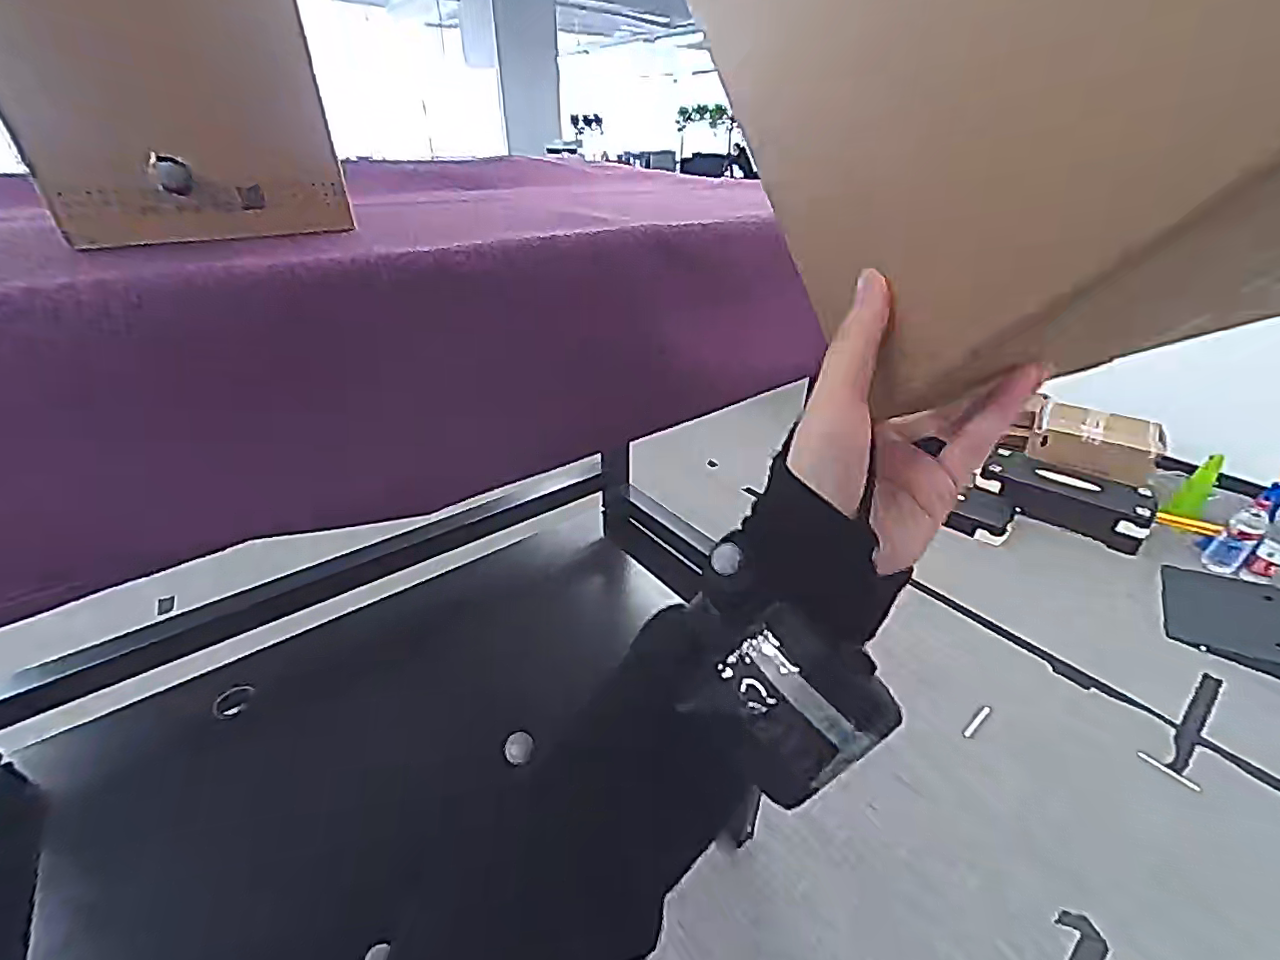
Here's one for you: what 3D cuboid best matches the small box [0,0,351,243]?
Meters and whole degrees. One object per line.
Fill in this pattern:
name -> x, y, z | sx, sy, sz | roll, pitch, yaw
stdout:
small box -> -0.328, -0.269, 0.379 | 0.168, 0.176, 0.179 | -22, 39, -30

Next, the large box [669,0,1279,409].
large box -> 0.204, -0.293, 0.193 | 0.320, 0.320, 0.408 | -15, 76, -15
